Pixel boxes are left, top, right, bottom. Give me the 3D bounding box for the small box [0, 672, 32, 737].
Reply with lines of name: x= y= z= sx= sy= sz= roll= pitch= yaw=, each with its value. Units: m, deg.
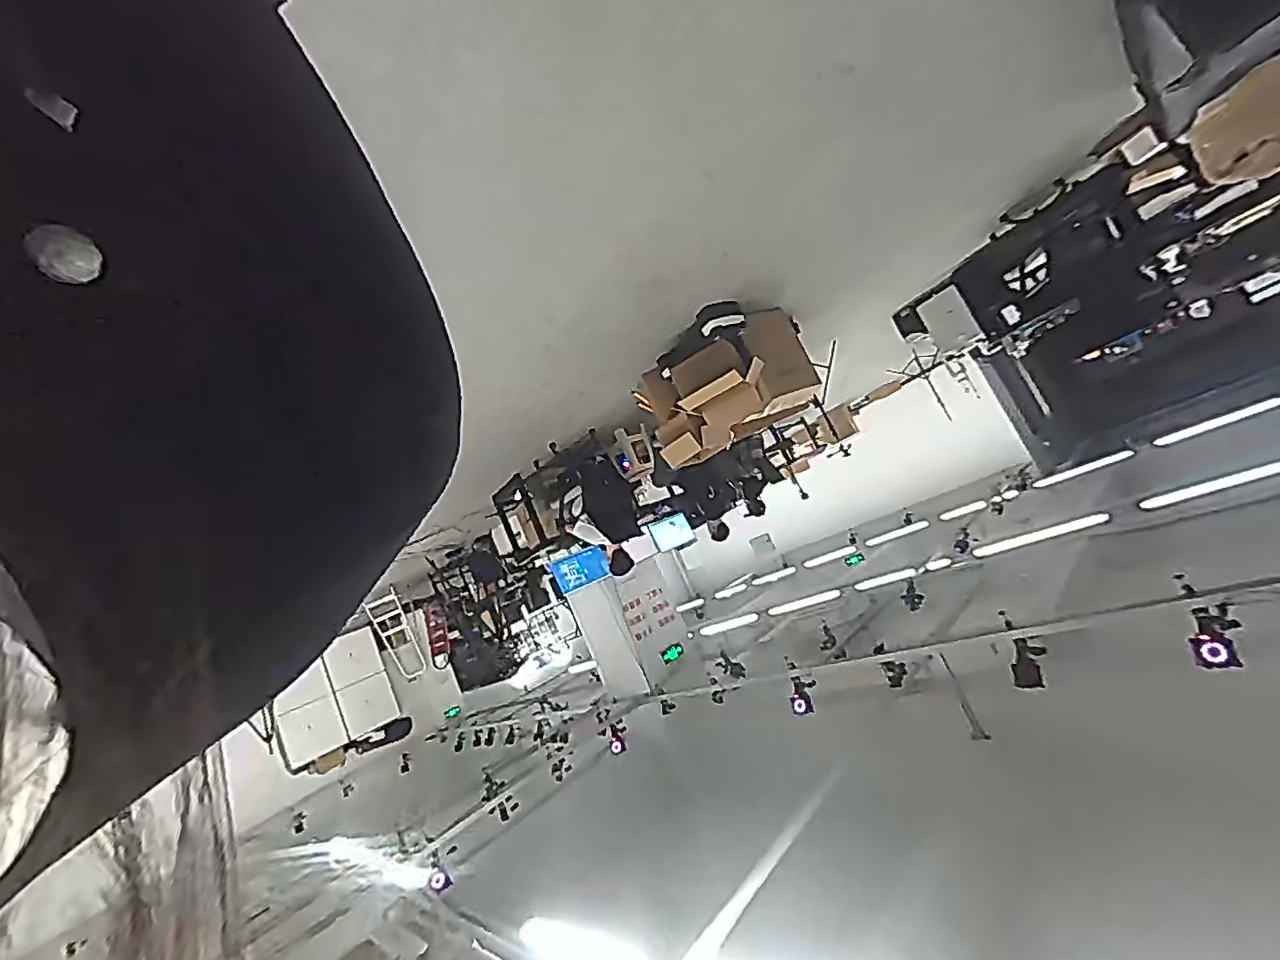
small box: x=-2.001 y=0.701 z=1.639 sx=0.168 sy=0.176 sz=0.179 roll=-16 pitch=168 yaw=-43
